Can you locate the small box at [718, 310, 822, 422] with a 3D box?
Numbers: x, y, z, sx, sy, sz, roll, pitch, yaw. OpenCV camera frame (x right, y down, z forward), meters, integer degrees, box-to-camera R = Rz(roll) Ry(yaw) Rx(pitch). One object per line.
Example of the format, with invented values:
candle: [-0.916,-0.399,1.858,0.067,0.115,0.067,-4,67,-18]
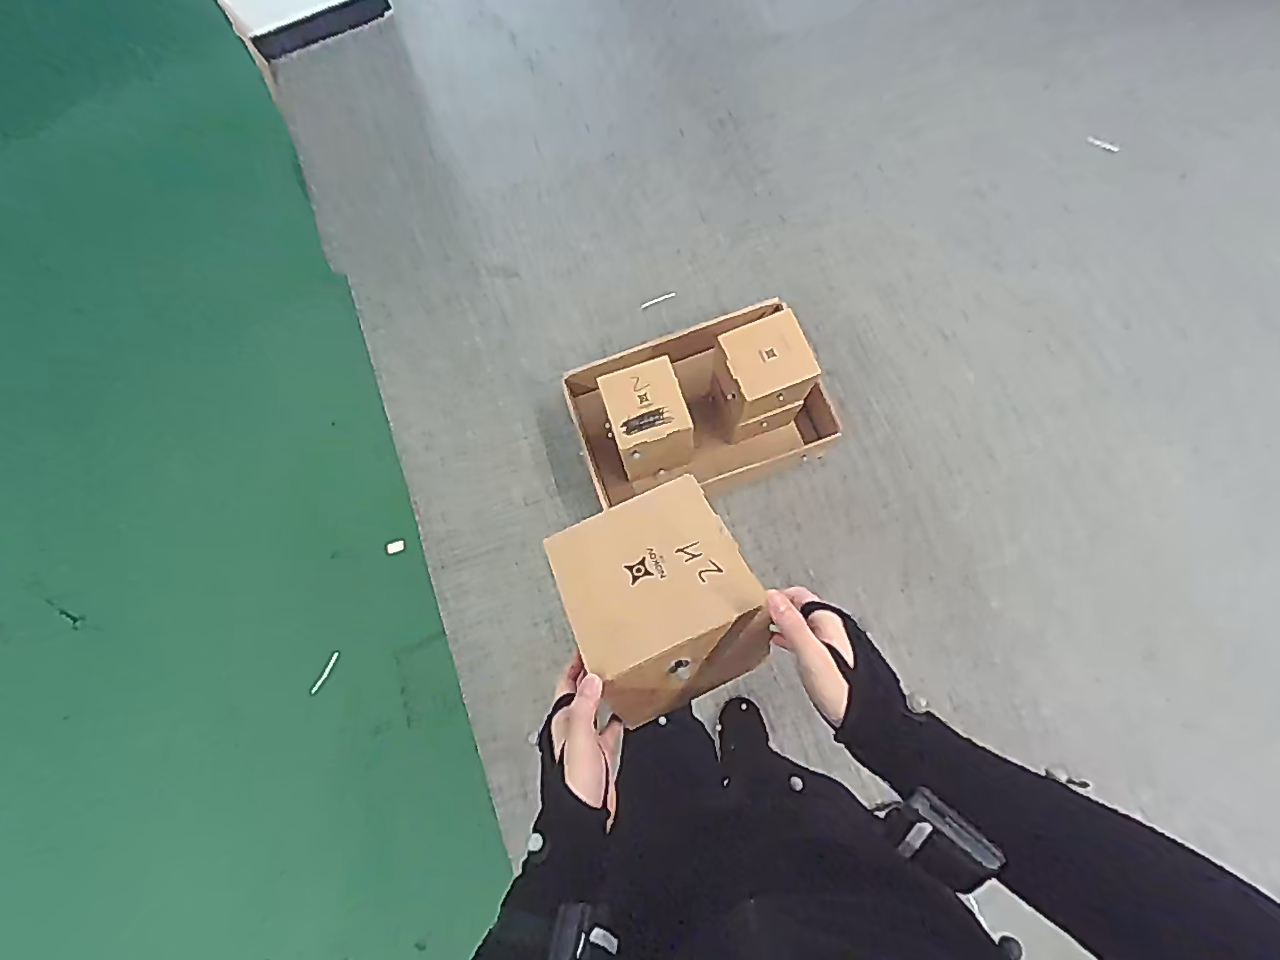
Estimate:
small box: [0.284,-0.251,1.234,0.179,0.176,0.168,-21,78,-1]

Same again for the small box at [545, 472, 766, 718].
small box: [0.023,0.128,0.578,0.179,0.176,0.168,-24,53,-5]
